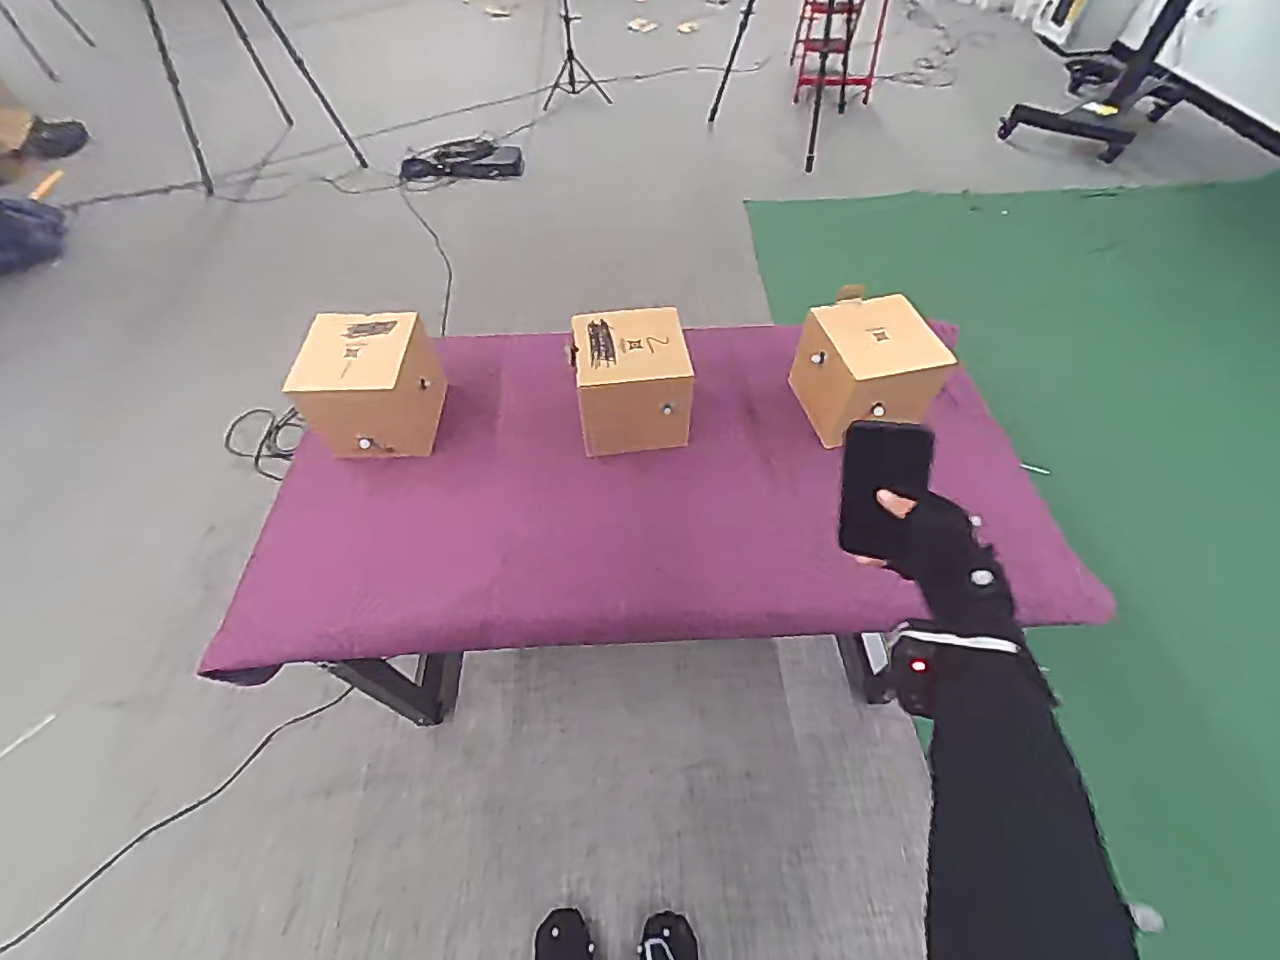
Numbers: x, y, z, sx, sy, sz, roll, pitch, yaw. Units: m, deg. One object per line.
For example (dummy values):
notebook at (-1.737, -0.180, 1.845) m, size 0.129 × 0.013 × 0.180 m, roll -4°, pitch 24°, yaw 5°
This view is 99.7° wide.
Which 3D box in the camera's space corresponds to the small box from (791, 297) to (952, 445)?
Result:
small box at (0.374, -0.175, 0.910) m, size 0.168 × 0.176 × 0.179 m, roll -11°, pitch 55°, yaw -7°

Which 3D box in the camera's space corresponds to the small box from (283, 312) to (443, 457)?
small box at (-0.440, -0.156, 0.897) m, size 0.168 × 0.176 × 0.179 m, roll -1°, pitch 56°, yaw -1°
